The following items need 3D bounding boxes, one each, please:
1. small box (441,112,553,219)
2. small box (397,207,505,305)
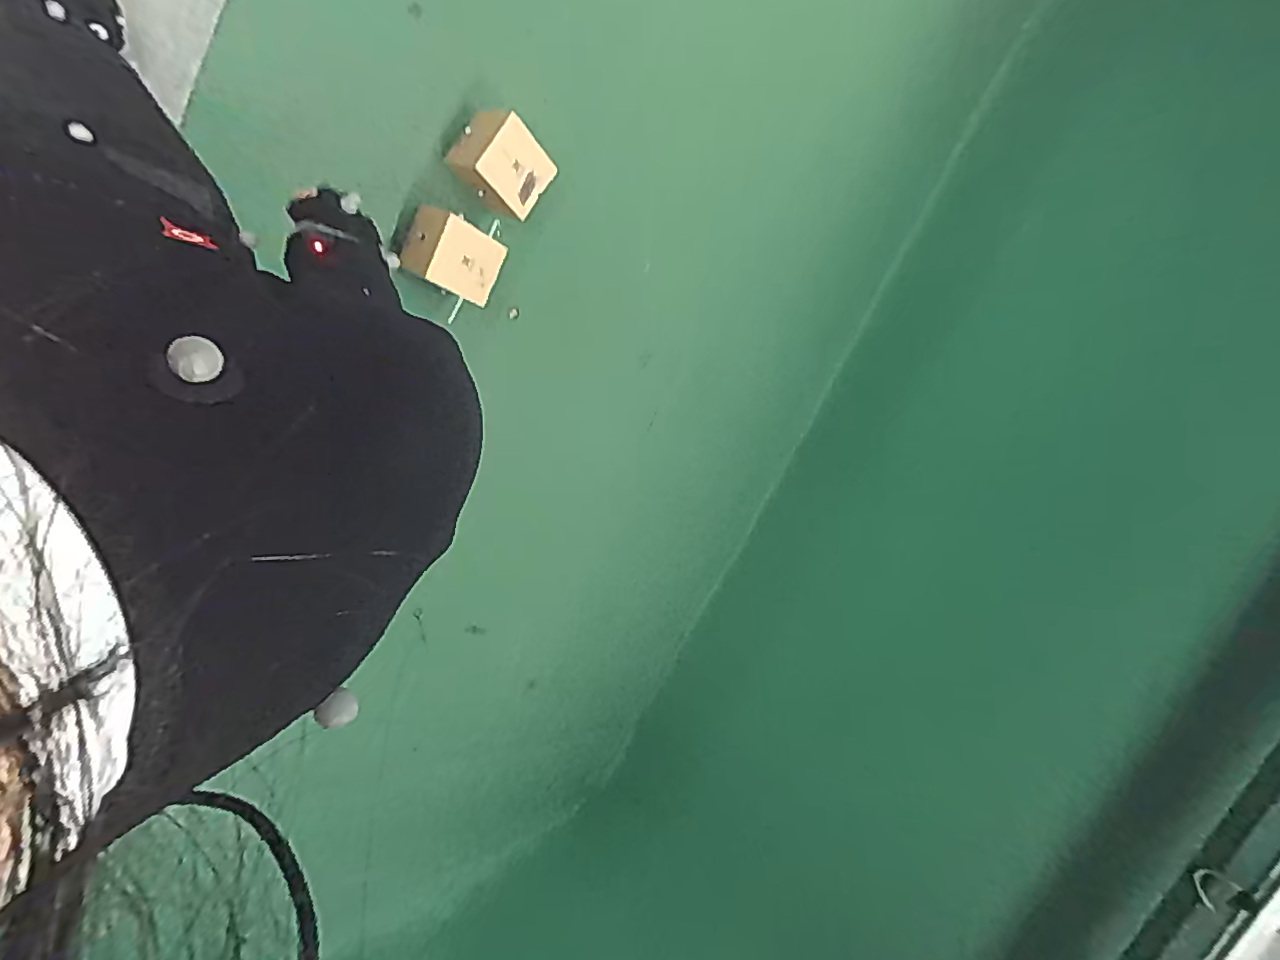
[{"bbox_3d":[-0.364,-0.803,1.376,0.168,0.176,0.179,-57,143,-3],"label":"small box"},{"bbox_3d":[-0.490,-0.577,1.390,0.179,0.176,0.168,16,104,-54],"label":"small box"}]
